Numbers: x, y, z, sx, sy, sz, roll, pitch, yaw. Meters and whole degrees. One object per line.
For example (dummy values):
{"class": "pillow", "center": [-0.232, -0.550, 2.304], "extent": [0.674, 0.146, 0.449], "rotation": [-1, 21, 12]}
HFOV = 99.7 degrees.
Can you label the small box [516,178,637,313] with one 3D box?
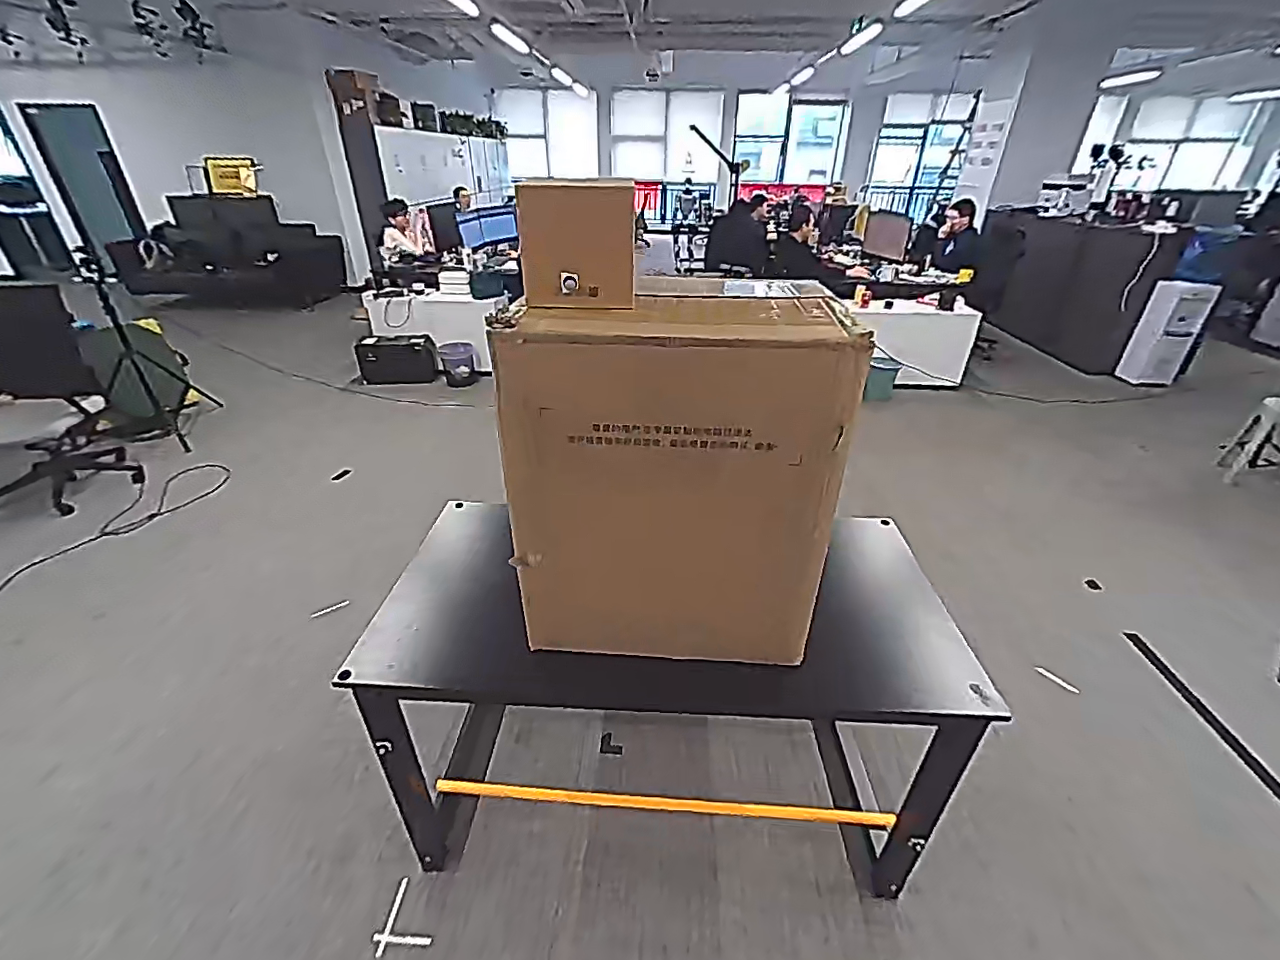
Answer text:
{"class": "small box", "center": [-0.090, -0.368, 0.841], "extent": [0.168, 0.176, 0.179], "rotation": [-1, 33, -2]}
